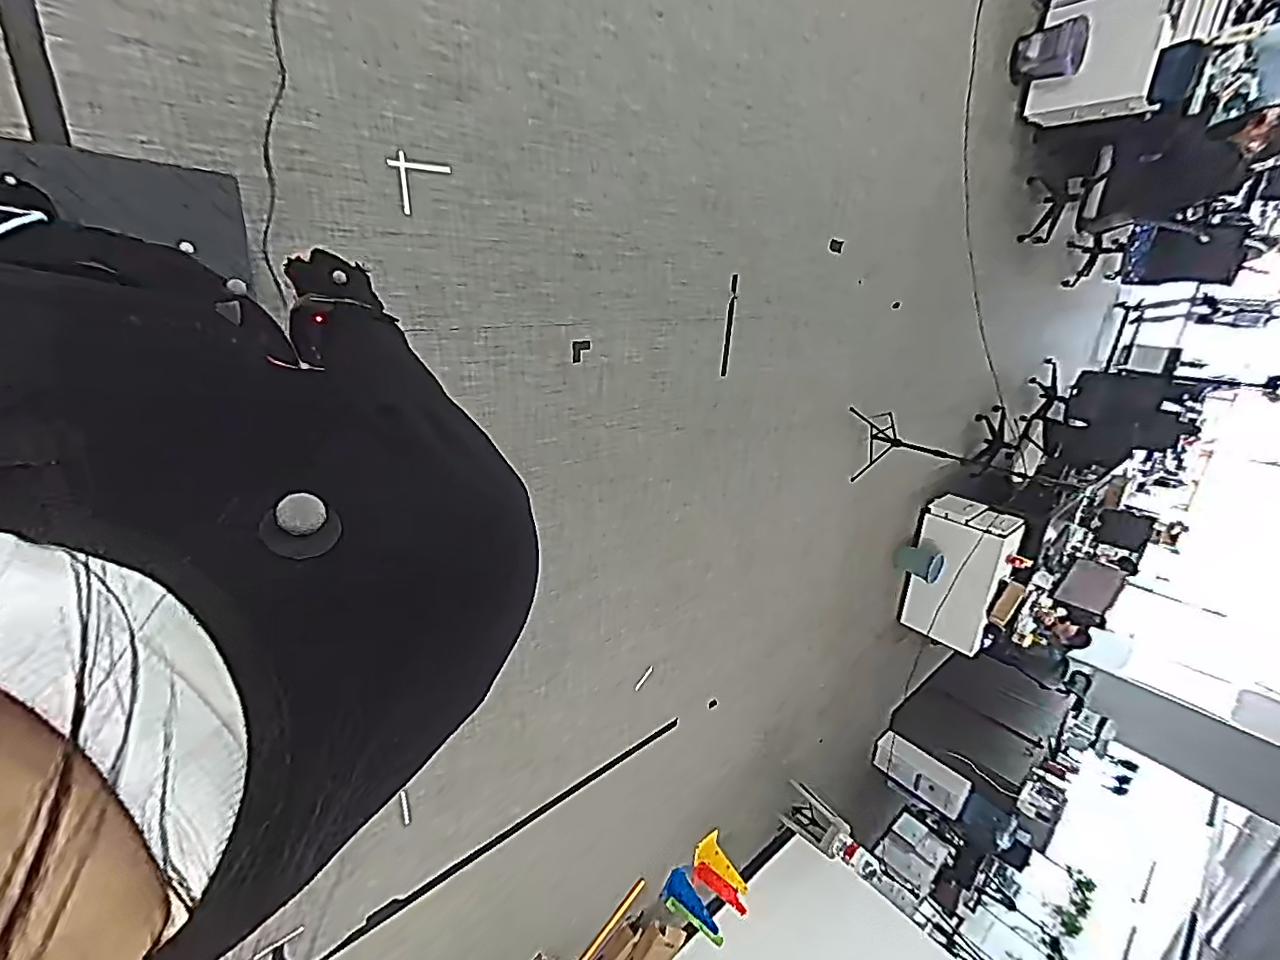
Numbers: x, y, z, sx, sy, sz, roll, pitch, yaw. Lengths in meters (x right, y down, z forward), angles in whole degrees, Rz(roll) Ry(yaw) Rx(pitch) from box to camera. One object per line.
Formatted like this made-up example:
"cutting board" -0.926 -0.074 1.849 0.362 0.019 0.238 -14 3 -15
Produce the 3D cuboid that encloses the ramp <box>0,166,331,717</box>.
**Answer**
"ramp" -0.987 -0.075 1.088 0.509 0.206 0.991 -14 114 -36
